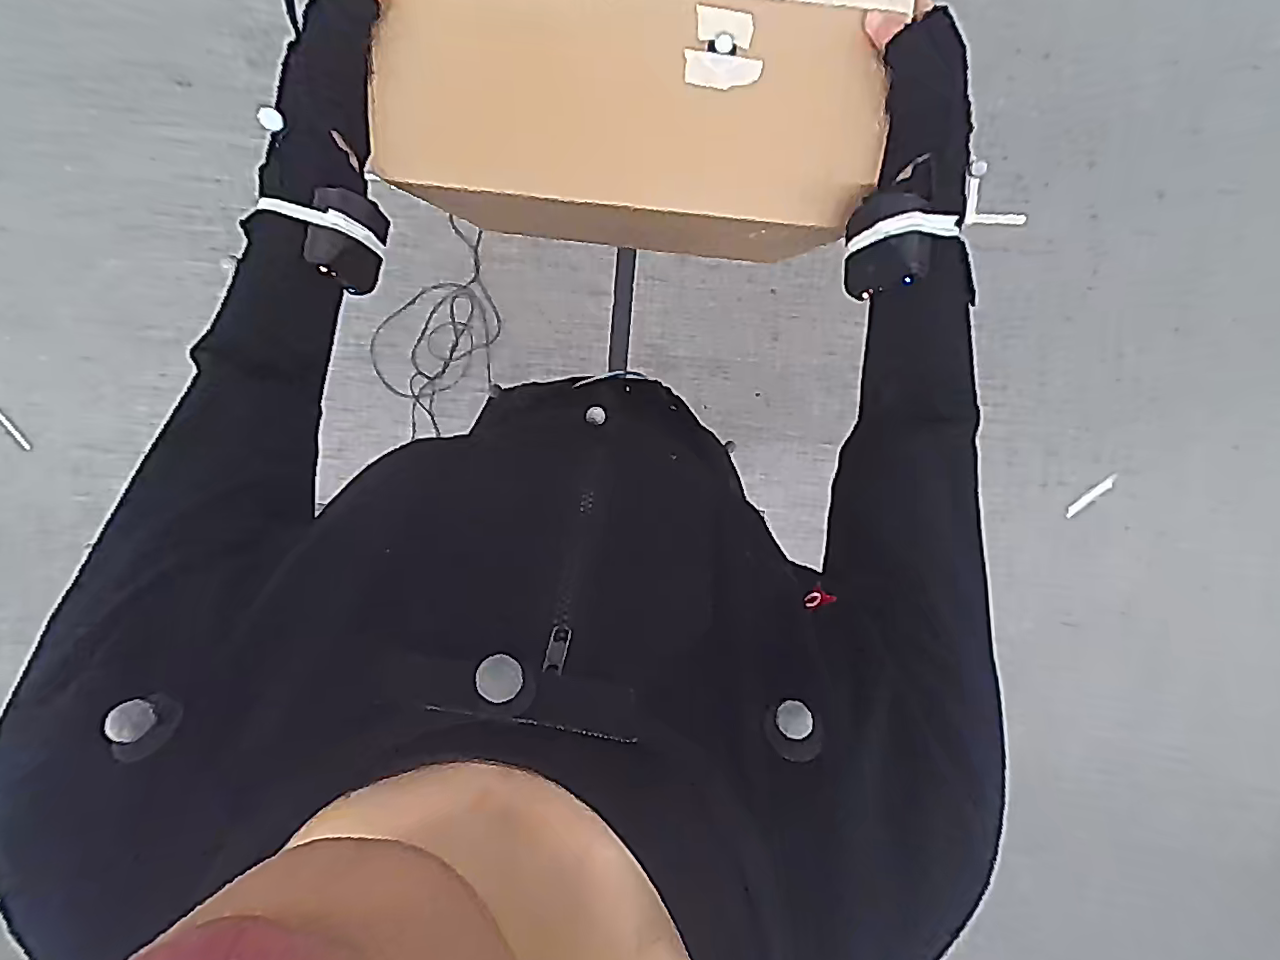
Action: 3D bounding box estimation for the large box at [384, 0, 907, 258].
[{"bbox_3d":[0.004,-0.420,0.550,0.408,0.320,0.320,6,109,-2],"label":"large box"}]
